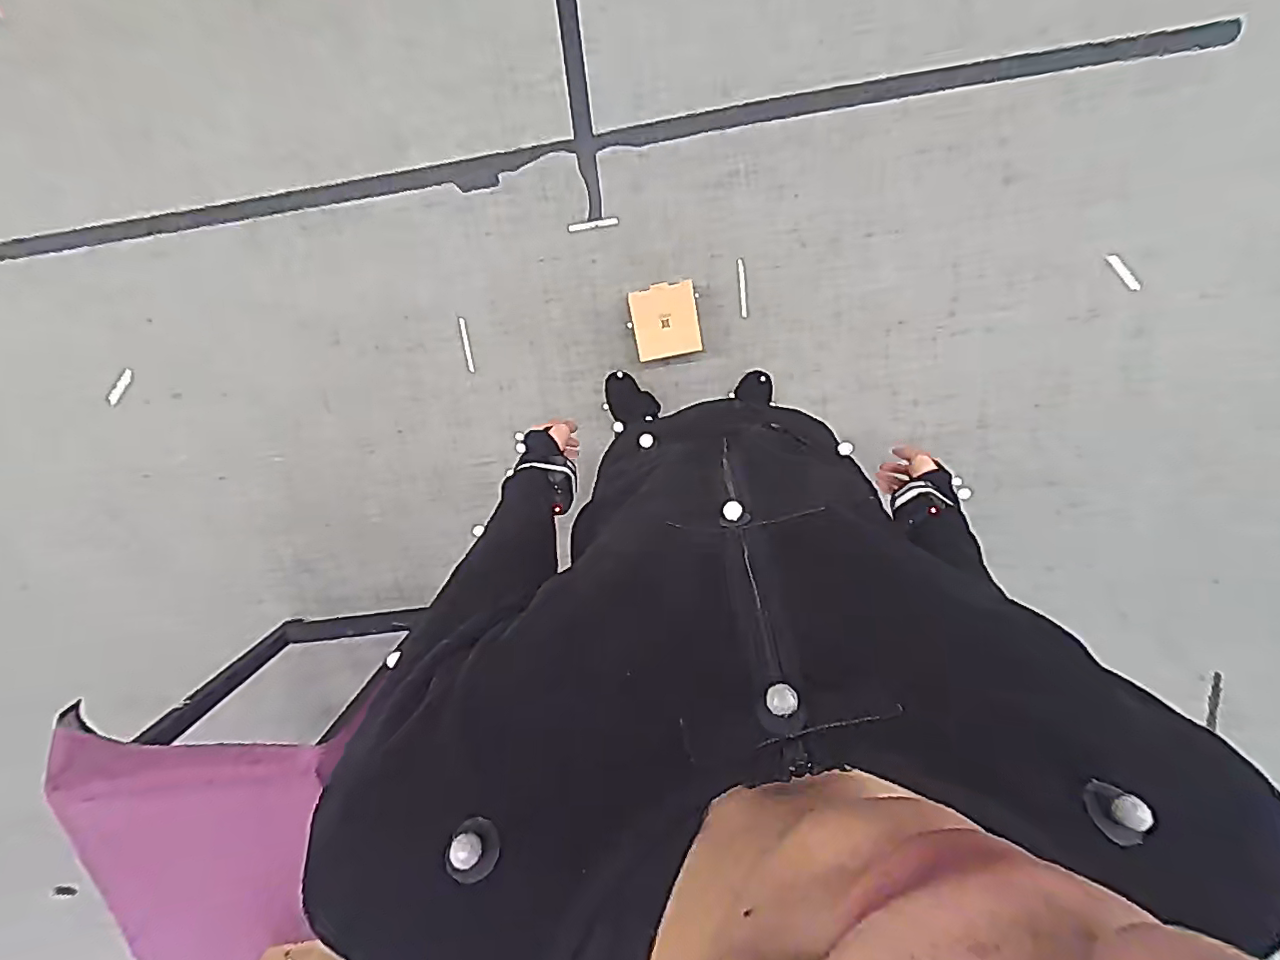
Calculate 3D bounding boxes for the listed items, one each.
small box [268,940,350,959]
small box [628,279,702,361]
[{"bbox_3d":[-0.740,1.151,1.171,0.168,0.176,0.179,-11,104,6],"label":"small box"},{"bbox_3d":[0.069,-0.427,1.445,0.168,0.176,0.179,-11,105,5],"label":"small box"}]
